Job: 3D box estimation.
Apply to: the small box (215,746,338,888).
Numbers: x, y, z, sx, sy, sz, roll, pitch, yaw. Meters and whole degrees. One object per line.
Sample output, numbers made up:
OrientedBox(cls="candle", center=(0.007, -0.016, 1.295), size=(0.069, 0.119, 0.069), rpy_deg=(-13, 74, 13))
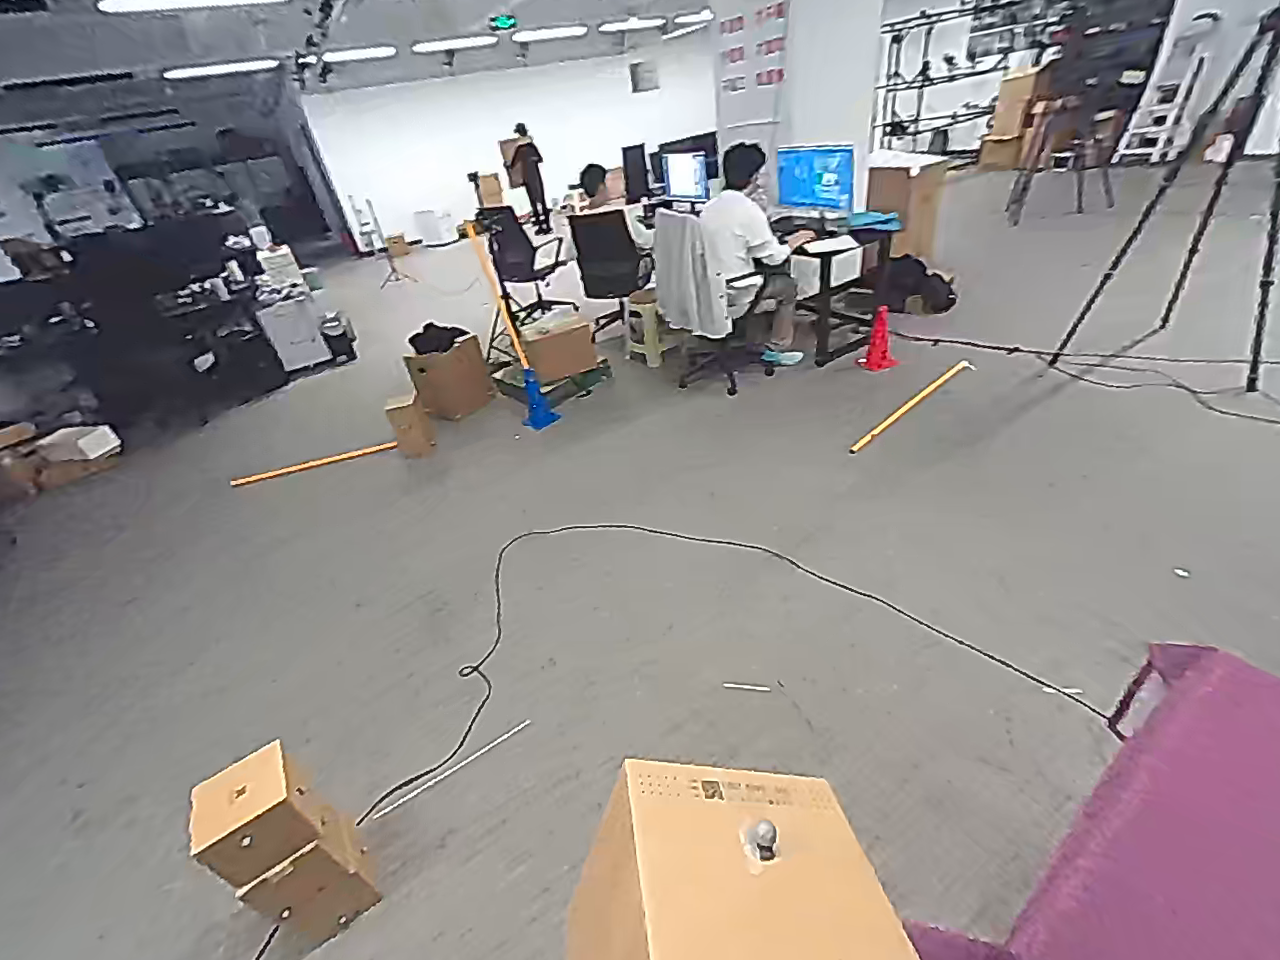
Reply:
OrientedBox(cls="small box", center=(-0.794, 0.743, 1.196), size=(0.179, 0.176, 0.168), rpy_deg=(-30, 38, -22))

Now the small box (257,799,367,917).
OrientedBox(cls="small box", center=(-0.773, 0.883, 1.278), size=(0.168, 0.176, 0.179), rpy_deg=(-29, 37, -23))

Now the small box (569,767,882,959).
OrientedBox(cls="small box", center=(0.049, 0.331, 0.360), size=(0.168, 0.179, 0.176), rpy_deg=(12, 19, -13))
